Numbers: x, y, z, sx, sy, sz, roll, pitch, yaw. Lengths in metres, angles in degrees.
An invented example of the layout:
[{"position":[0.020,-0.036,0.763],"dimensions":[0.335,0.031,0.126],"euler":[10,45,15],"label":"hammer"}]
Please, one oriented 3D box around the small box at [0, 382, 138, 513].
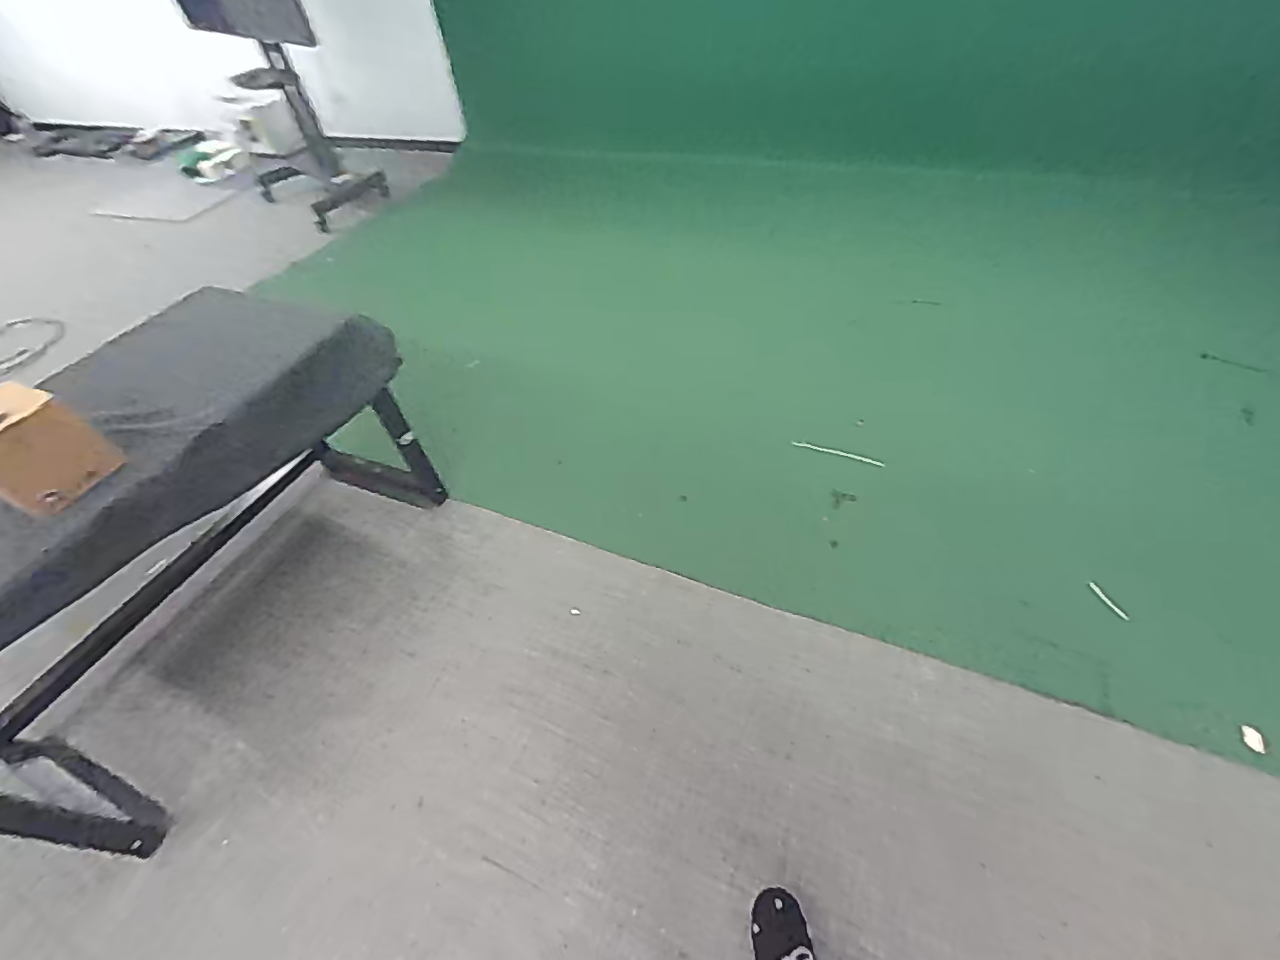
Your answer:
[{"position":[-1.140,-0.059,1.035],"dimensions":[0.179,0.176,0.168],"euler":[14,52,18],"label":"small box"}]
